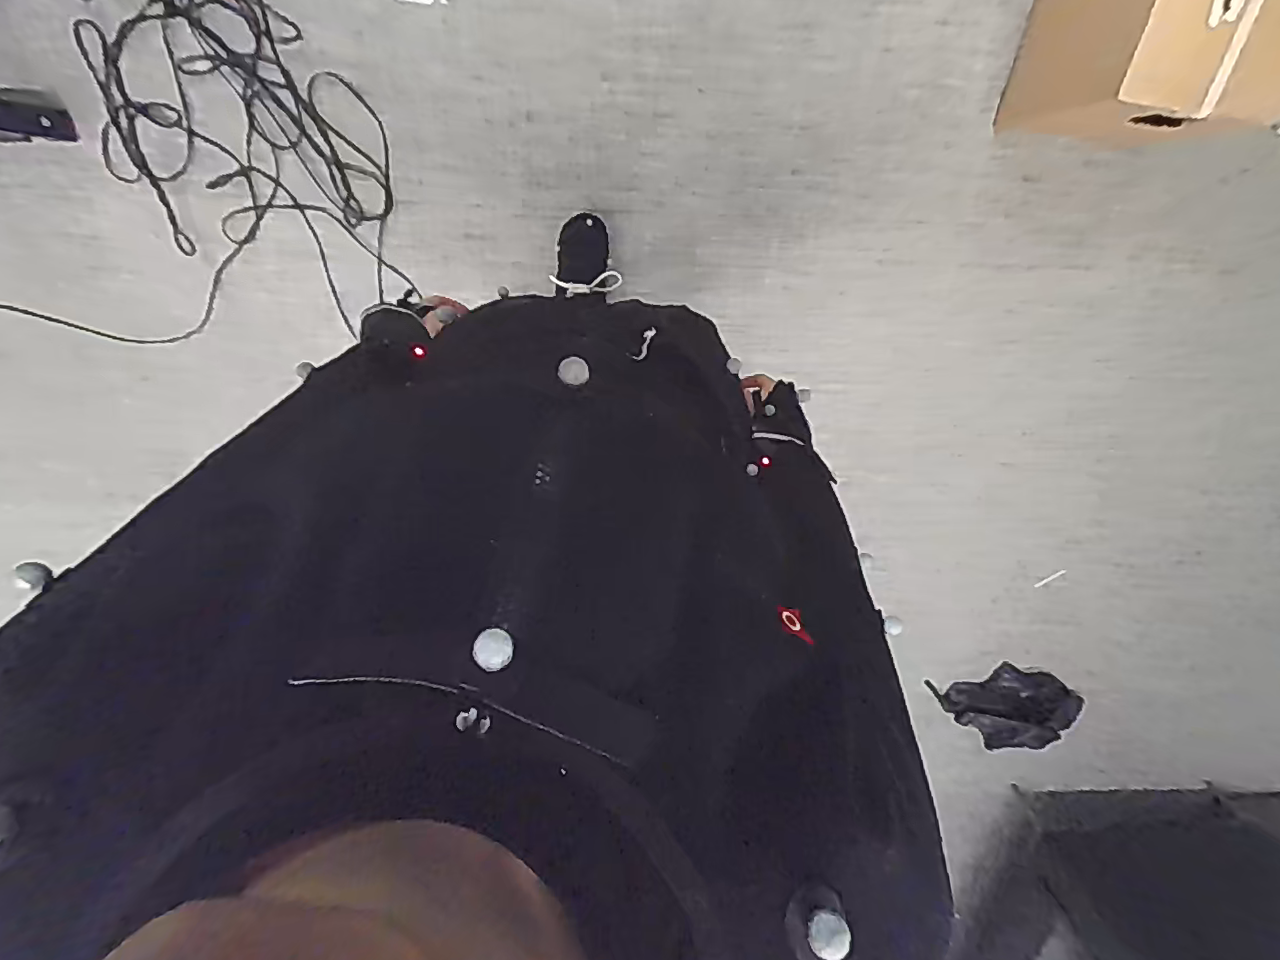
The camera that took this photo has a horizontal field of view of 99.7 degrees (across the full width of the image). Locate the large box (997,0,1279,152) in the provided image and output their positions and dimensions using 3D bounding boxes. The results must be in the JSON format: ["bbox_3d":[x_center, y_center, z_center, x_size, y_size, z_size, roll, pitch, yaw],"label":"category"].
[{"bbox_3d":[0.919,-0.828,0.932,0.320,0.320,0.408,4,116,-4],"label":"large box"}]
